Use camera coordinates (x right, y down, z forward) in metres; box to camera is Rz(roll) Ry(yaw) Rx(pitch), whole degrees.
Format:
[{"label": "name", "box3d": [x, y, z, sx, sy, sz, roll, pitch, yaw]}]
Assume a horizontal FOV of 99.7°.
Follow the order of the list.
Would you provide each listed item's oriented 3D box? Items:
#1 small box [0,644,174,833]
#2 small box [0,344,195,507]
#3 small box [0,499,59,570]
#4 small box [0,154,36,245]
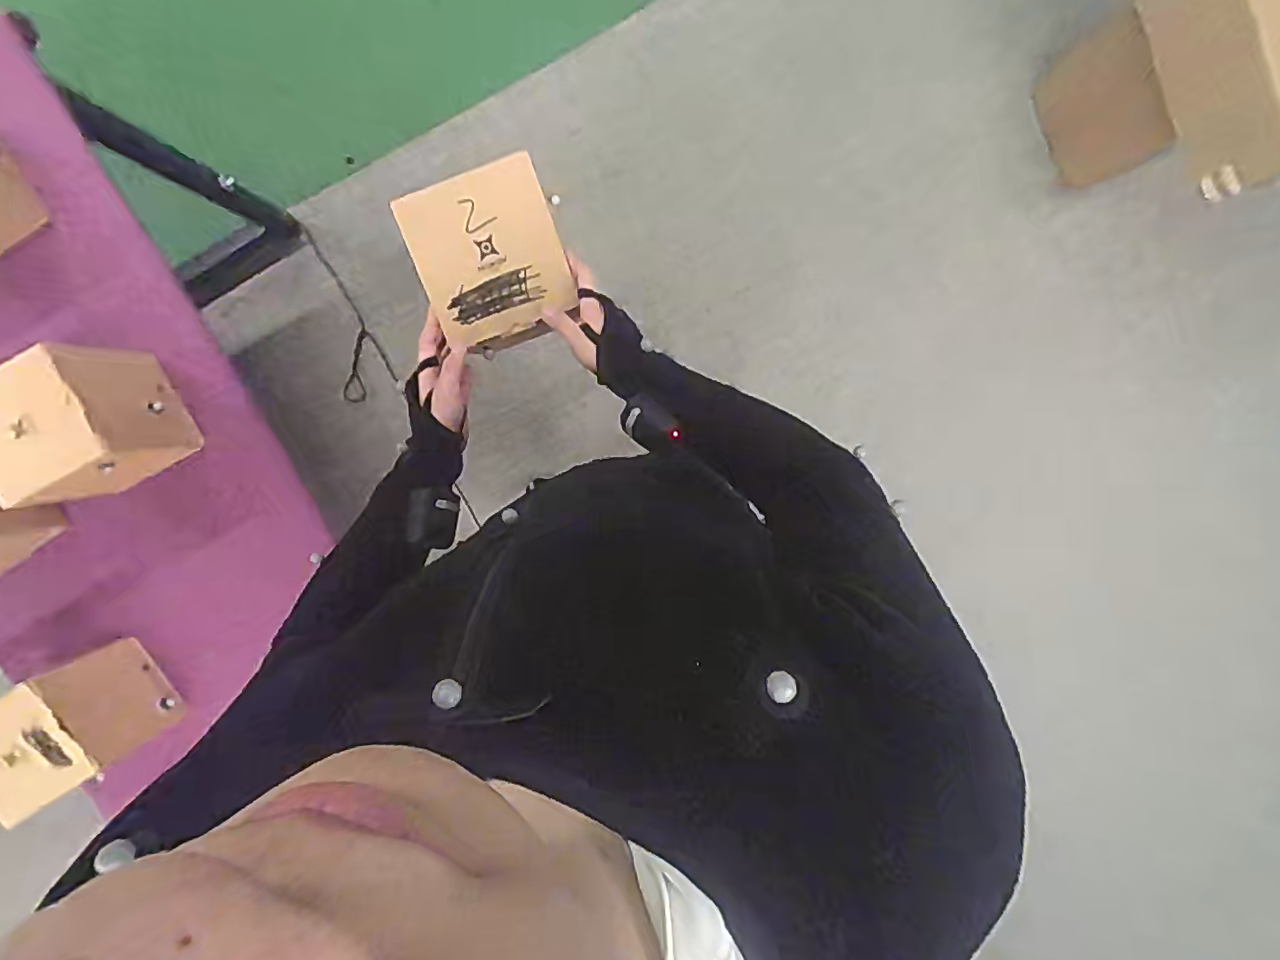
[{"label": "small box", "box3d": [-0.897, 0.392, 0.852, 0.179, 0.176, 0.168, -33, 95, 4]}, {"label": "small box", "box3d": [-0.833, -0.079, 0.802, 0.179, 0.176, 0.168, -27, 96, 4]}, {"label": "small box", "box3d": [-1.071, 0.066, 0.818, 0.179, 0.176, 0.168, -32, 96, 2]}, {"label": "small box", "box3d": [-1.044, -0.423, 0.760, 0.179, 0.176, 0.168, -30, 97, 4]}]
